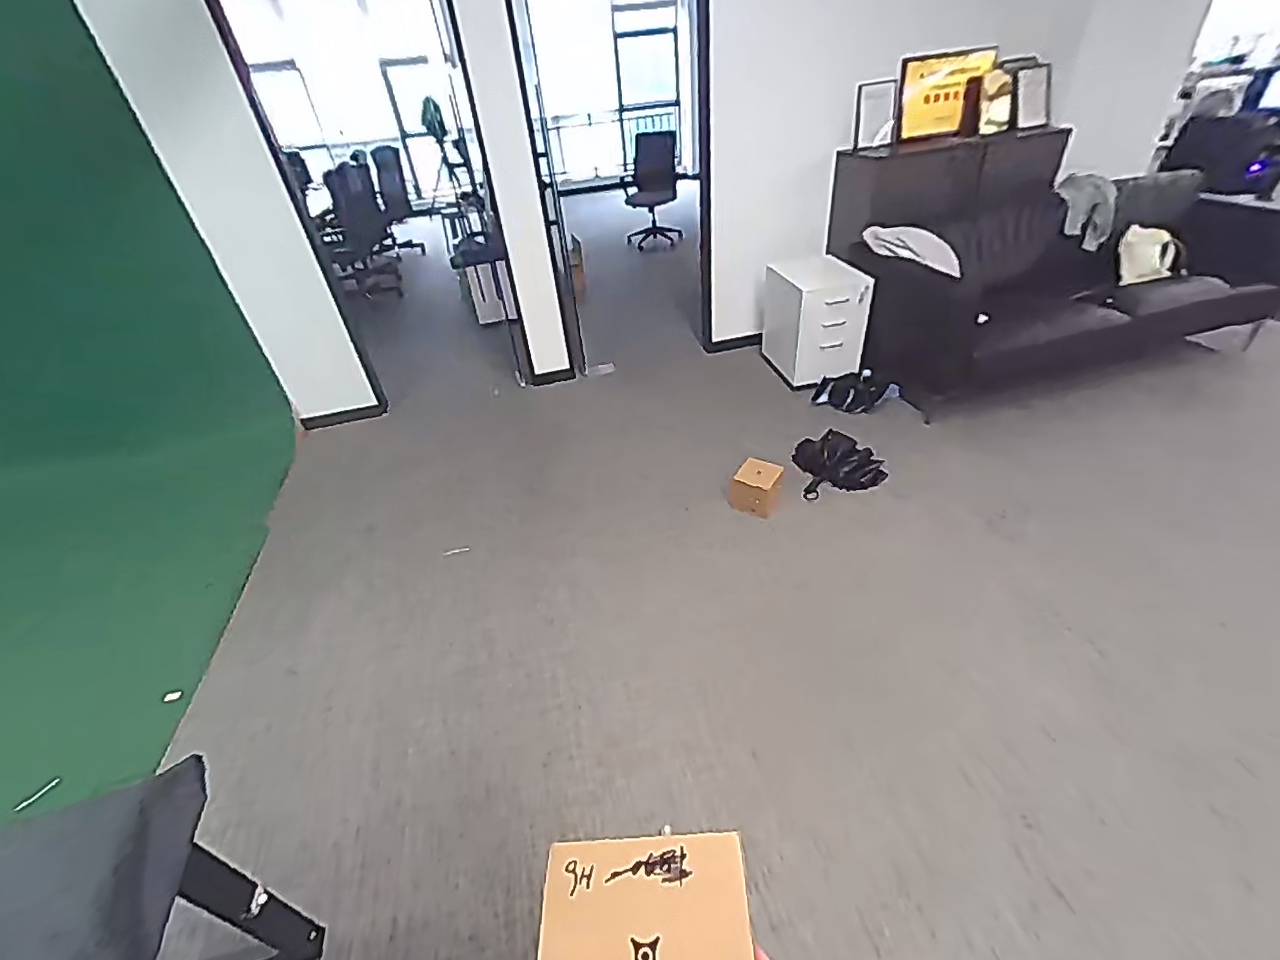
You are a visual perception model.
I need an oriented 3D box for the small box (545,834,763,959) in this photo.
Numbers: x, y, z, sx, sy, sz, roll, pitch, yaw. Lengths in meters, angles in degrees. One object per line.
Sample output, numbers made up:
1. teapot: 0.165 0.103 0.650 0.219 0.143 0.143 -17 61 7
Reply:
1. small box: 0.020 0.420 0.445 0.168 0.176 0.179 -6 40 4
